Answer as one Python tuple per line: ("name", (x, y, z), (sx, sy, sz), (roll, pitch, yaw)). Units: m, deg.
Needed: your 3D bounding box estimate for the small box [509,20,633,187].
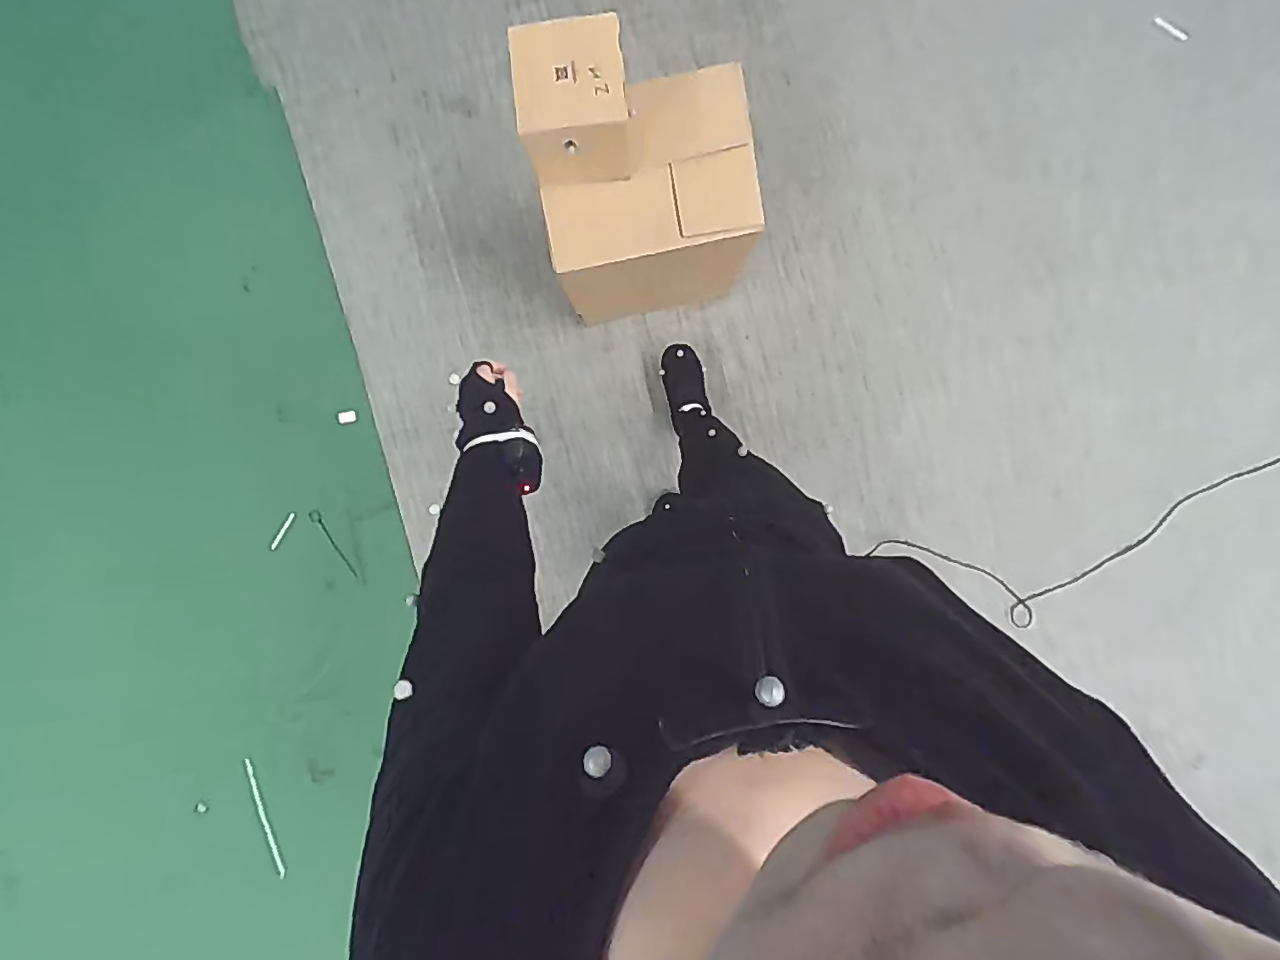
("small box", (-0.109, -0.623, 0.918), (0.179, 0.176, 0.168), (-5, 92, 2))
